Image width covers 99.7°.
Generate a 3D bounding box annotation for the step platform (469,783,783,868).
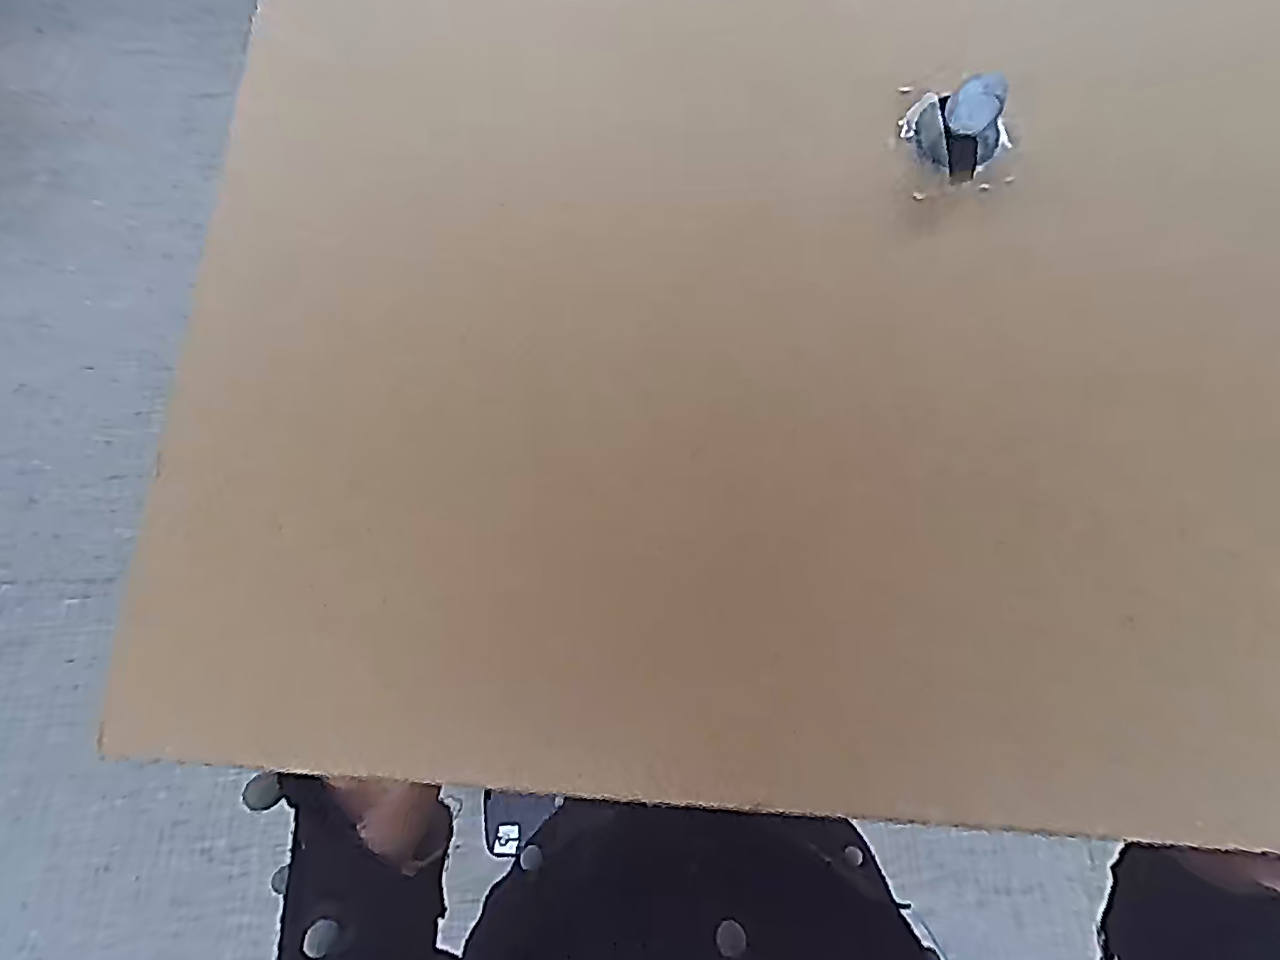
[{"bbox_3d":[-0.027,0.669,1.224,0.684,0.204,0.286,3,72,2],"label":"step platform"}]
